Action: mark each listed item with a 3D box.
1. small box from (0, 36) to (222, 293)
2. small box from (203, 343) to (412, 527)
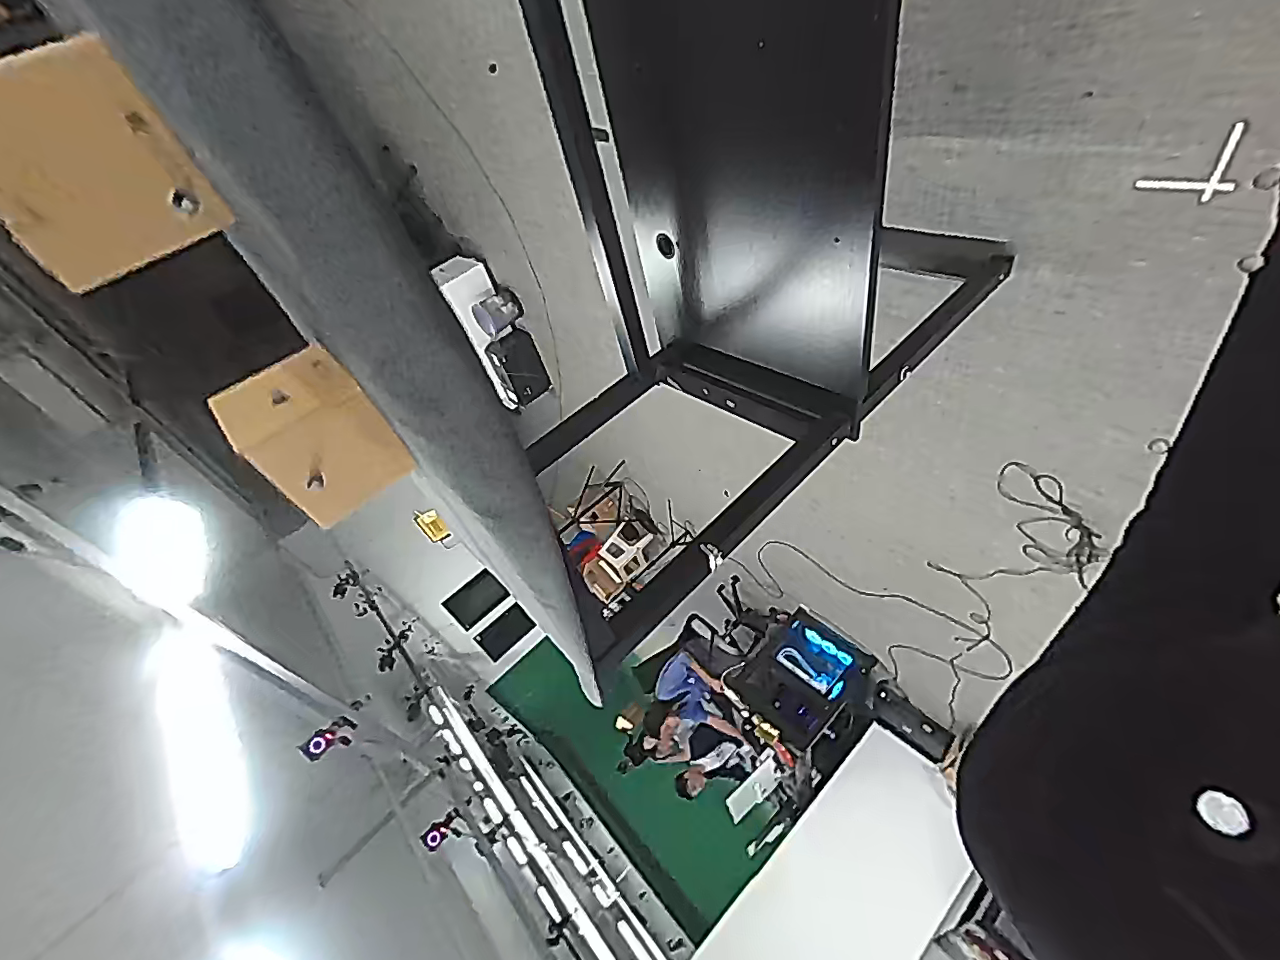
[{"bbox_3d":[-0.575,-0.323,0.547,0.179,0.176,0.168,35,156,36],"label":"small box"},{"bbox_3d":[-0.477,-0.072,0.796,0.168,0.176,0.179,35,156,34],"label":"small box"}]
